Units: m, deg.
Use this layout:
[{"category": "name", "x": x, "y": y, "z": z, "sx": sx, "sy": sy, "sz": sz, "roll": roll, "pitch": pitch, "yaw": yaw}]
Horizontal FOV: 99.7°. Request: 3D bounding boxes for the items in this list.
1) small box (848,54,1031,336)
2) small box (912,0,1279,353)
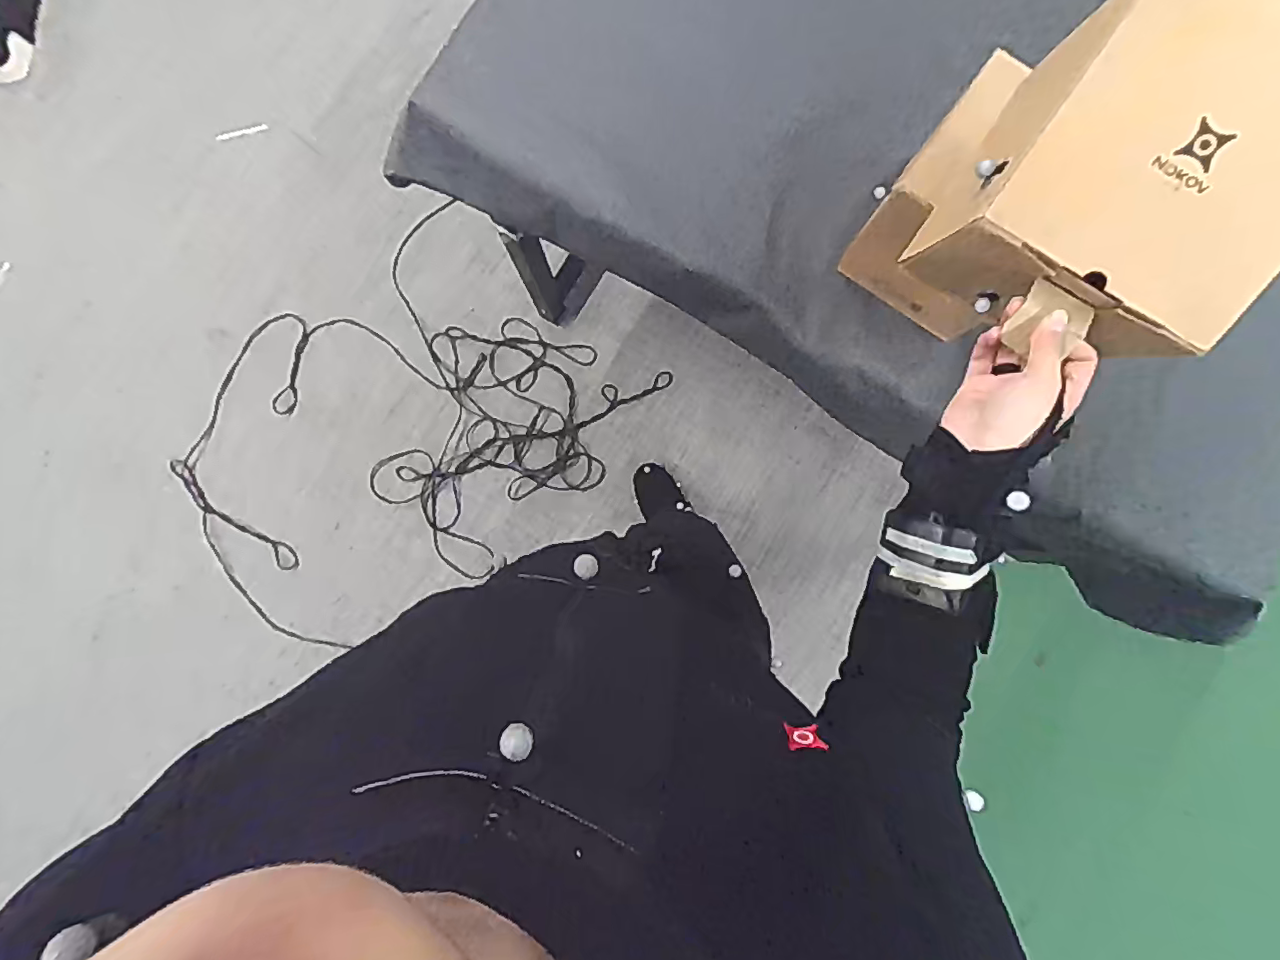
[{"category": "small box", "x": 0.356, "y": -0.288, "z": 0.590, "sx": 0.168, "sy": 0.176, "sz": 0.179, "roll": 35, "pitch": 85, "yaw": 1}, {"category": "small box", "x": 0.338, "y": -0.210, "z": 0.395, "sx": 0.168, "sy": 0.176, "sz": 0.179, "roll": 32, "pitch": 105, "yaw": 0}]
